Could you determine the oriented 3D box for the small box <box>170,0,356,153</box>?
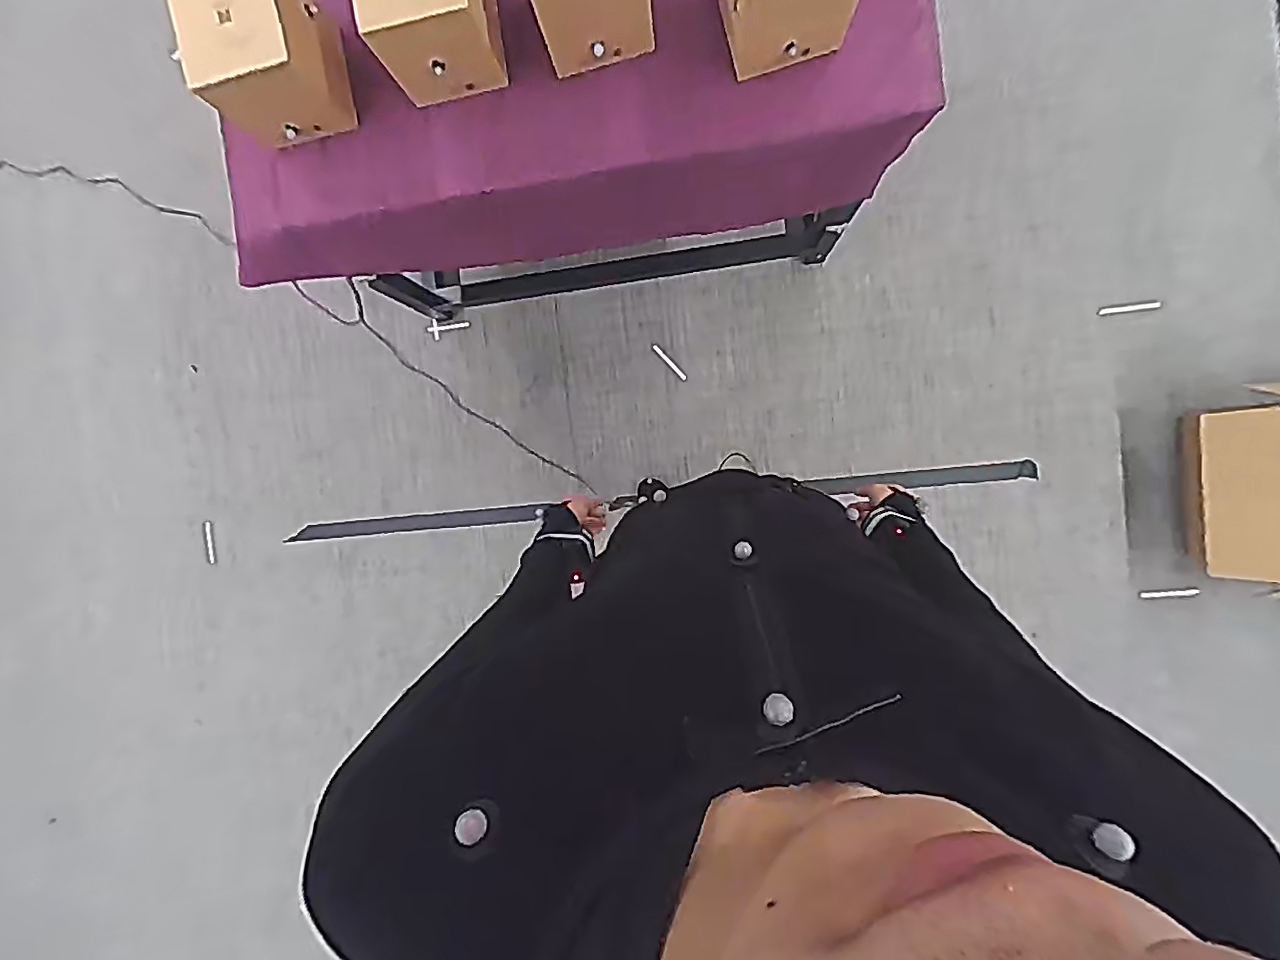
[{"bbox_3d":[-0.590,-0.669,0.861,0.168,0.176,0.179,-11,91,6],"label":"small box"}]

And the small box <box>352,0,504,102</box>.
[{"bbox_3d":[-0.322,-0.723,0.832,0.168,0.176,0.179,-8,91,6],"label":"small box"}]

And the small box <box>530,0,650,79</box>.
[{"bbox_3d":[-0.084,-0.759,0.808,0.168,0.176,0.179,-12,92,6],"label":"small box"}]
